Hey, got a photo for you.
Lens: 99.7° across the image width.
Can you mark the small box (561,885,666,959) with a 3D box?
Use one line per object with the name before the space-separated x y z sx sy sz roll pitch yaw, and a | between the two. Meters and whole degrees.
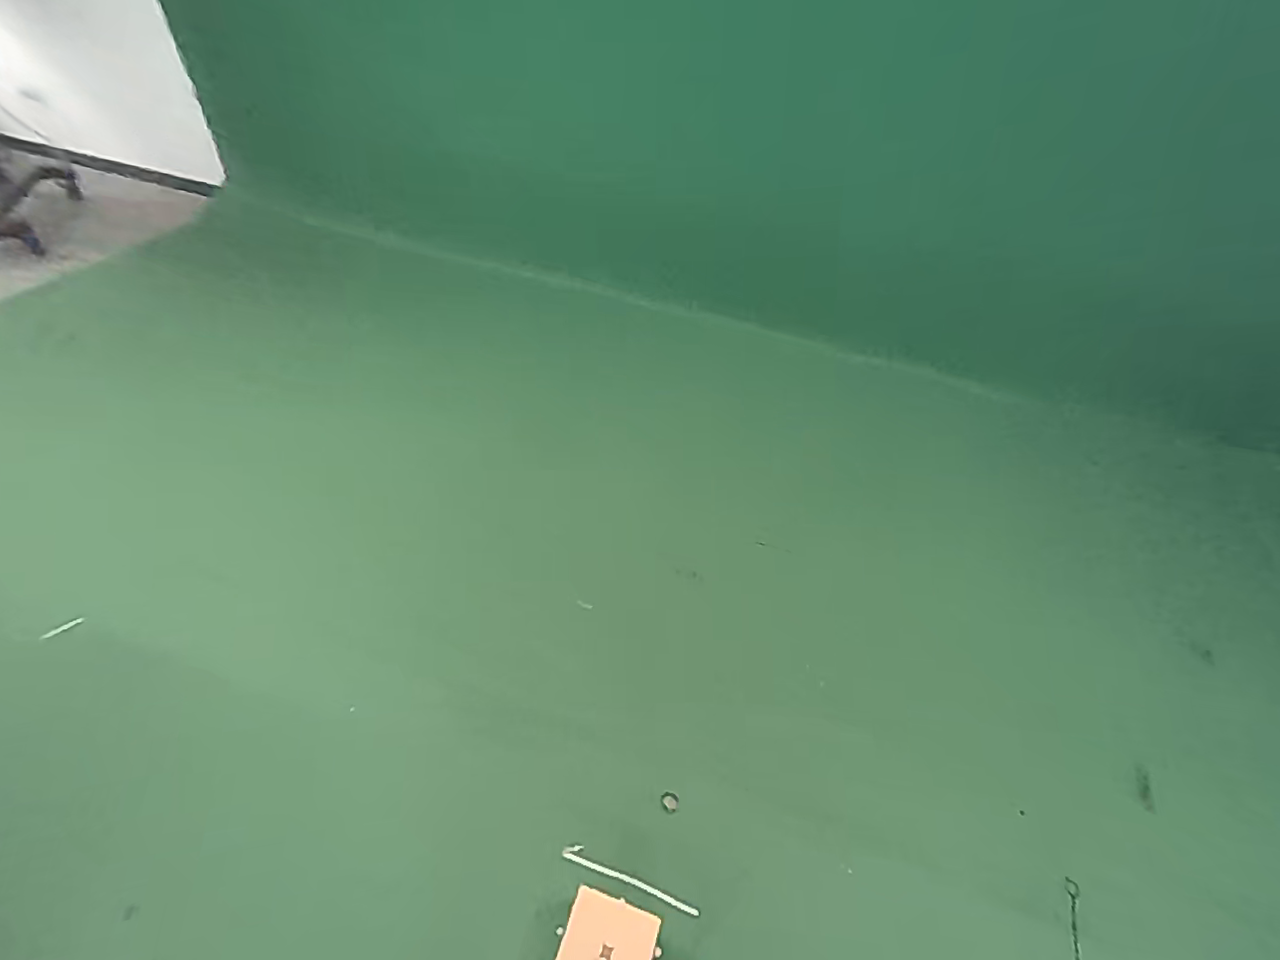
small box | -0.062 0.913 1.023 0.168 0.176 0.179 17 47 10
